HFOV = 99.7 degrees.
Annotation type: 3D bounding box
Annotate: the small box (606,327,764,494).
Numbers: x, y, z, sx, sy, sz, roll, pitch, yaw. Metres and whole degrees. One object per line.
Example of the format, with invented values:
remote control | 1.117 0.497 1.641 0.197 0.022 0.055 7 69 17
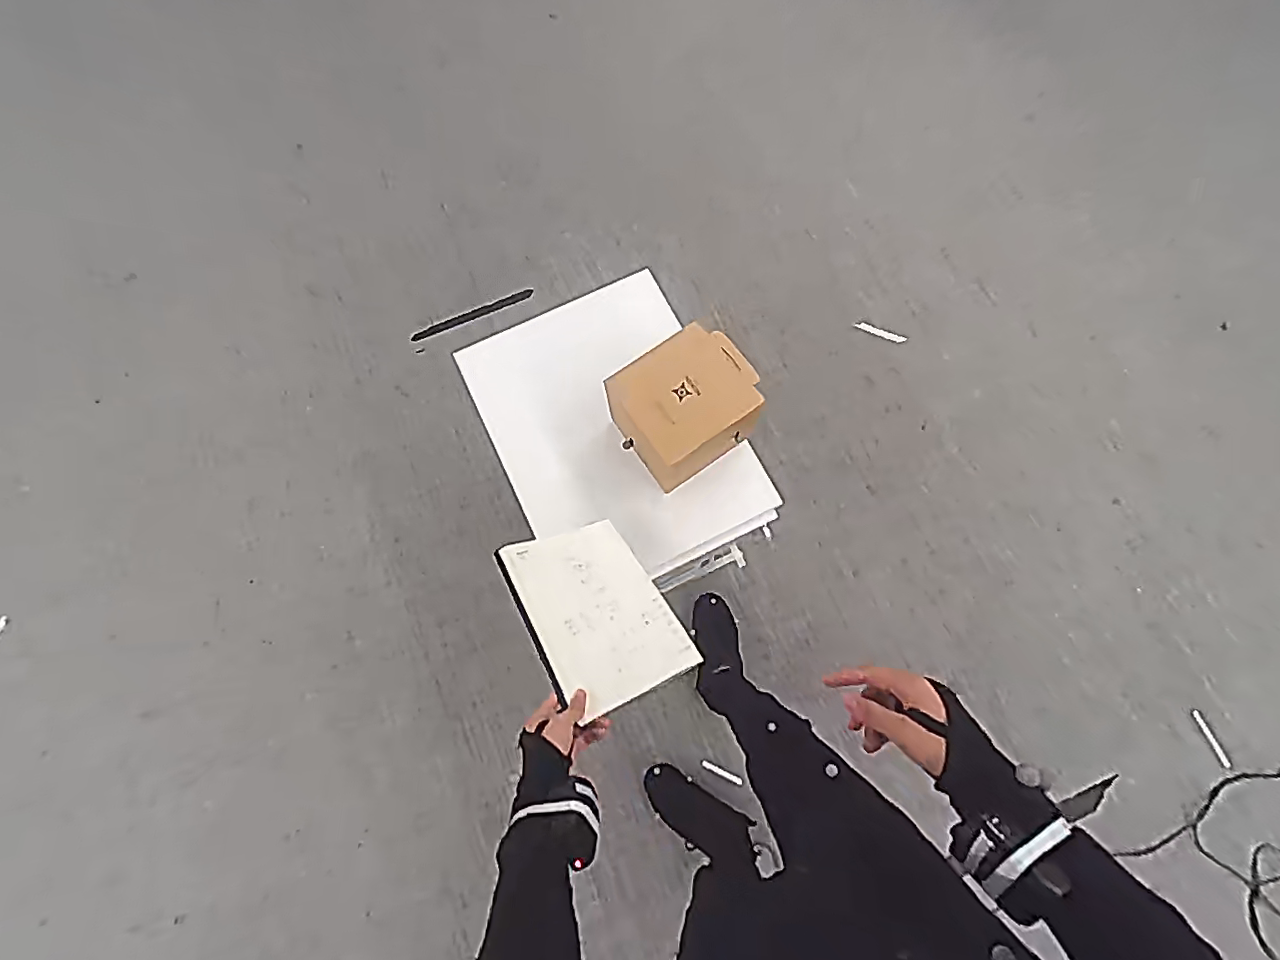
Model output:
small box | 0.064 -0.102 0.859 0.179 0.176 0.168 -34 77 -7
